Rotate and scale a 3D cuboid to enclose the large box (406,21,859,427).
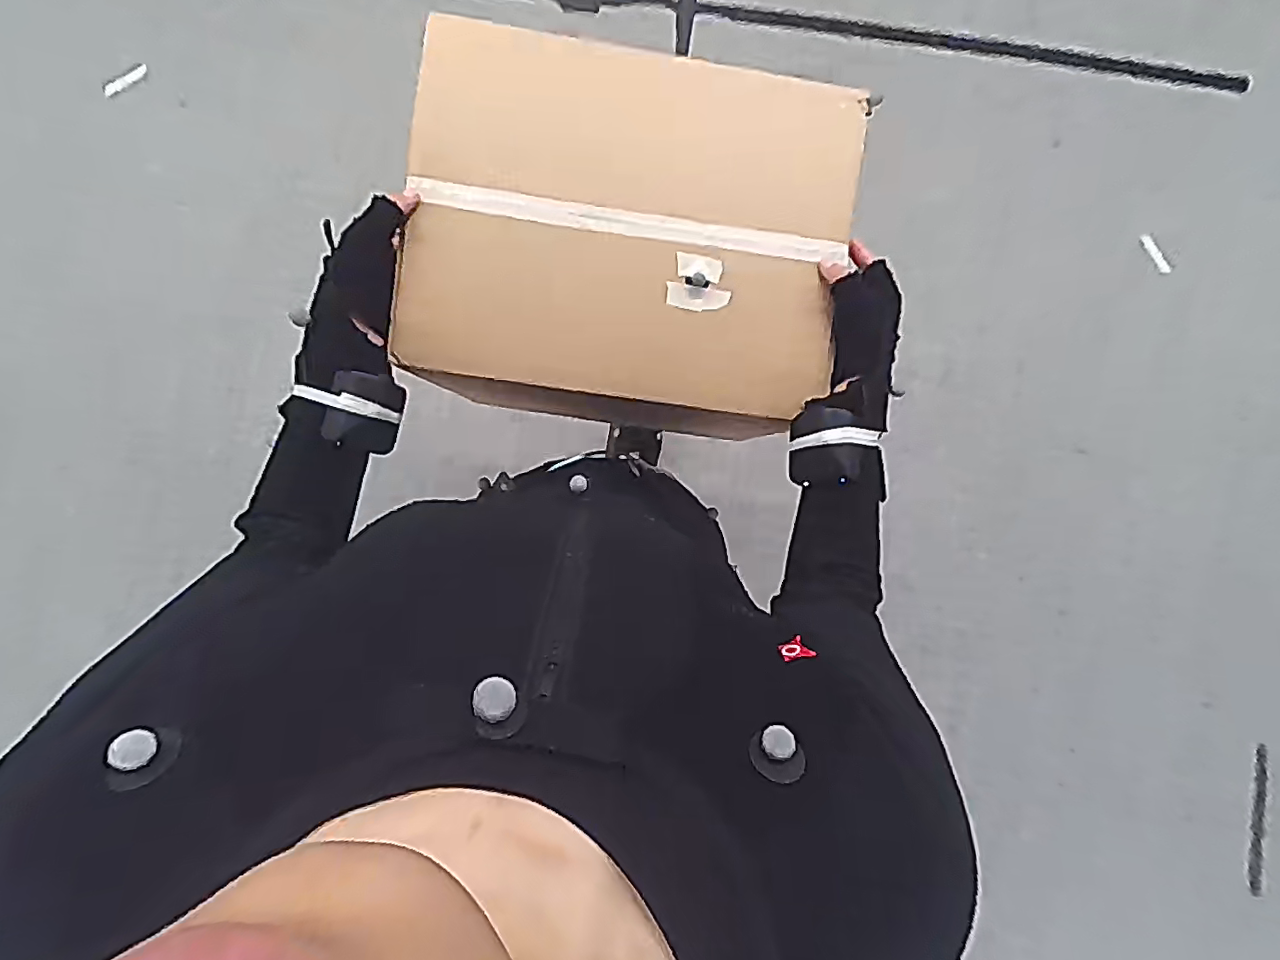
[{"bbox_3d":[-0.015,-0.249,0.655,0.408,0.320,0.320,8,92,-4],"label":"large box"}]
